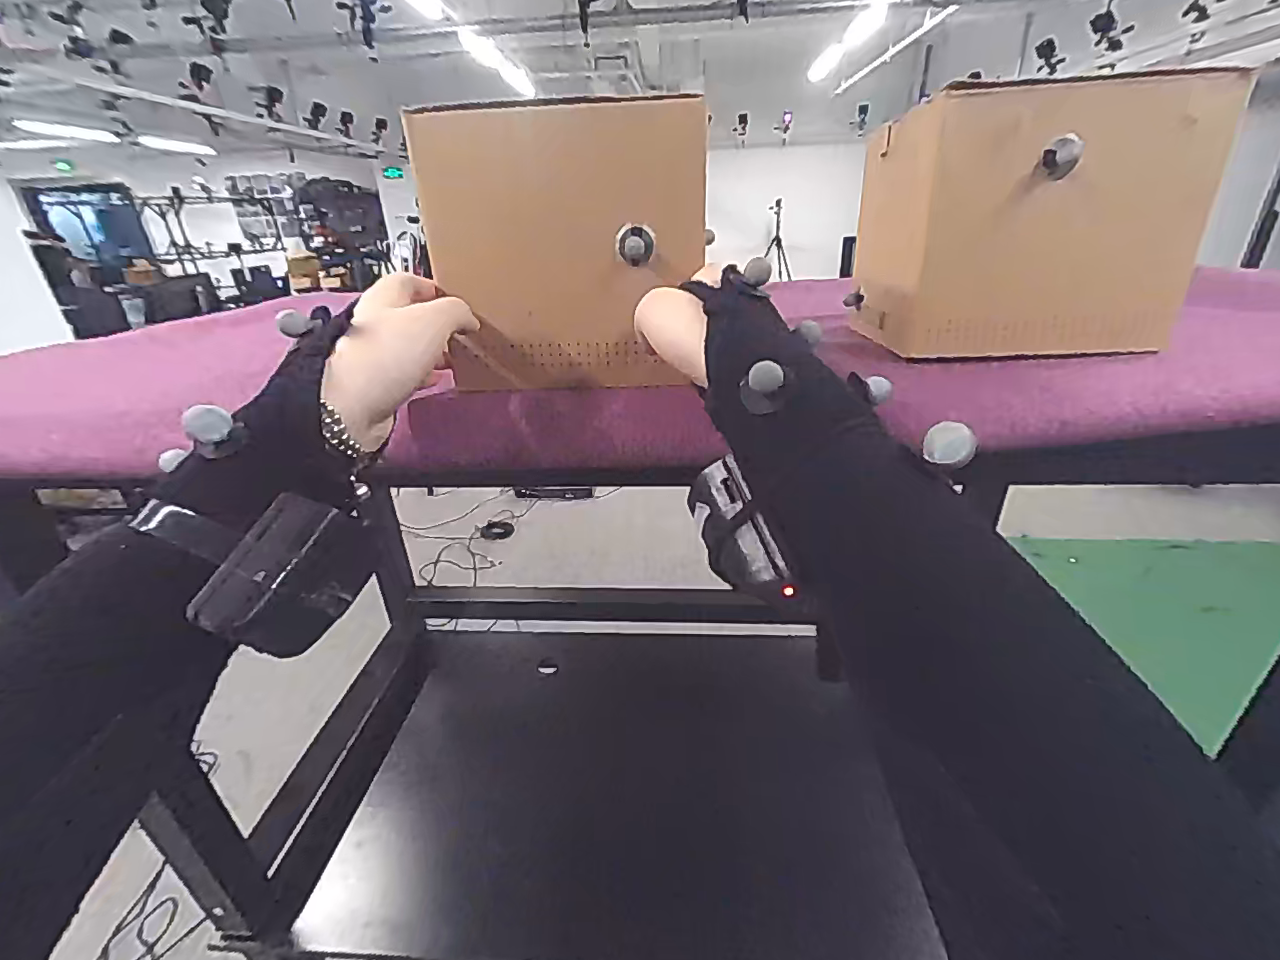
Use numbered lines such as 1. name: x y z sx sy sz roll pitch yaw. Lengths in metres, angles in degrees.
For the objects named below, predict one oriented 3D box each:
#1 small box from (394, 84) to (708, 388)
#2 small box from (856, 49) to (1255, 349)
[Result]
1. small box: -0.045 -0.173 0.401 0.179 0.176 0.168 -2 26 3
2. small box: 0.279 -0.200 0.420 0.179 0.176 0.168 0 25 5
